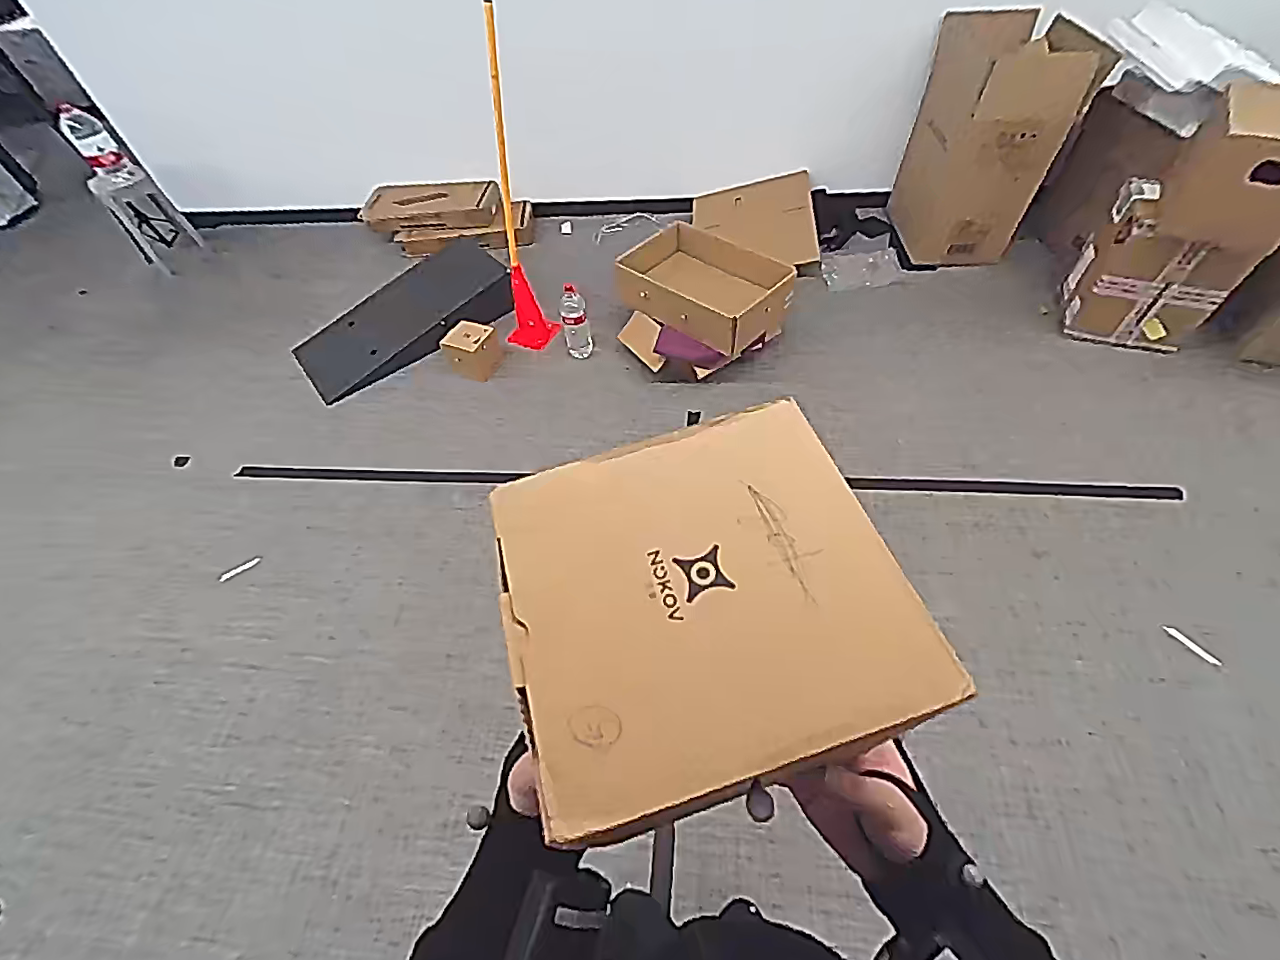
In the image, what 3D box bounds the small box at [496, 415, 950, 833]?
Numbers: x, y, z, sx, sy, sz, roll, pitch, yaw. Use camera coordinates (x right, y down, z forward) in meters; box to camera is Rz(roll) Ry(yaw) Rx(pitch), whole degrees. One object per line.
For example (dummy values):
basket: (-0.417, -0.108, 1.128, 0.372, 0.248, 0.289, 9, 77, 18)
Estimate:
small box: (0.033, 0.094, 0.325, 0.179, 0.176, 0.168, -17, 57, -5)
